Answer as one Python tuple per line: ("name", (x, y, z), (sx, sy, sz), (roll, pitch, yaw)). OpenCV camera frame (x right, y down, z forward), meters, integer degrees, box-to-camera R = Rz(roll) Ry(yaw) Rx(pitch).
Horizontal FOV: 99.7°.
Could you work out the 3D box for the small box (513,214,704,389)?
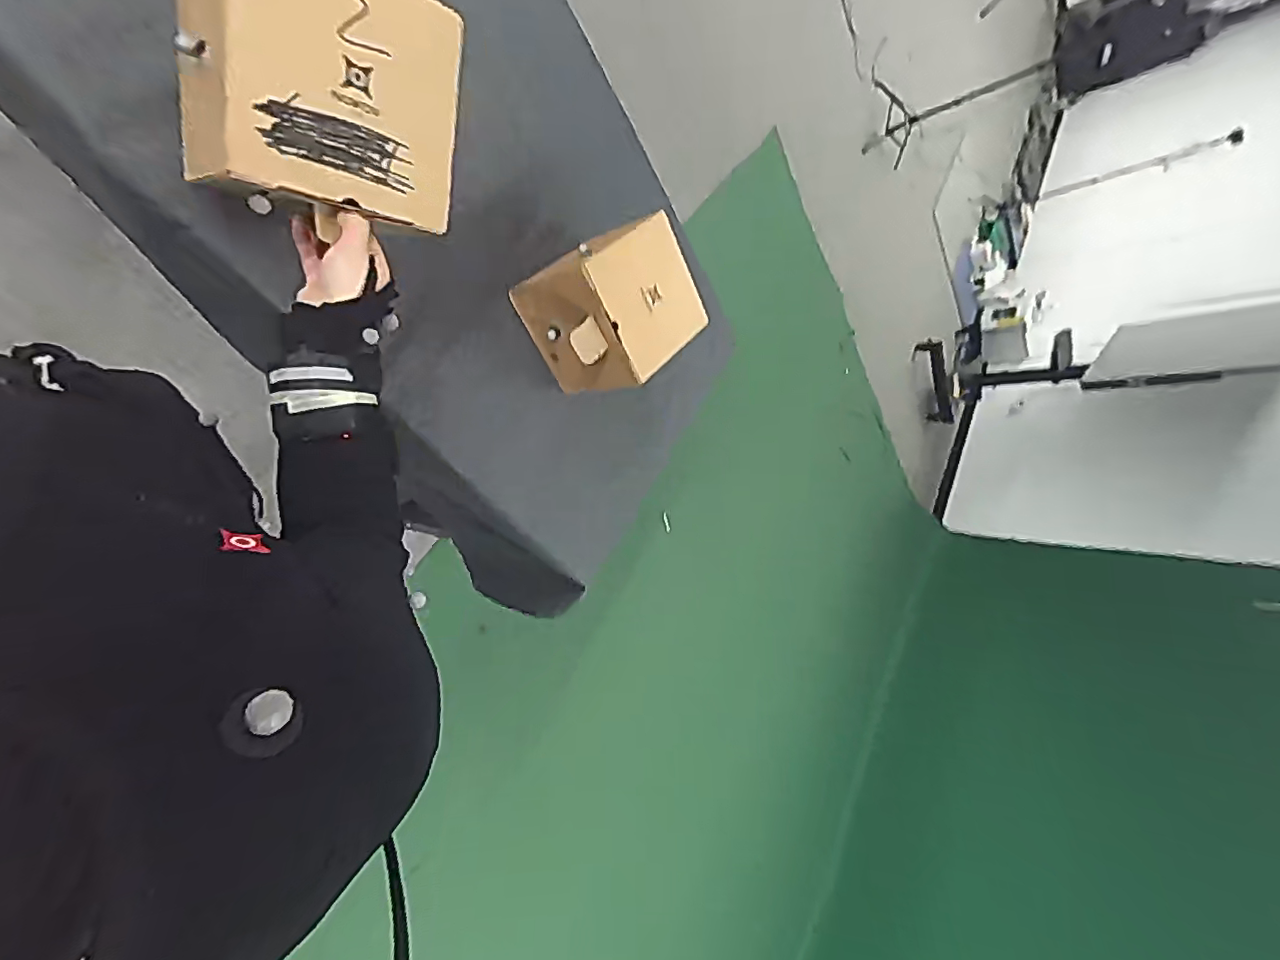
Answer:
("small box", (-0.044, -0.246, 0.770), (0.179, 0.176, 0.168), (-48, 123, -31))
